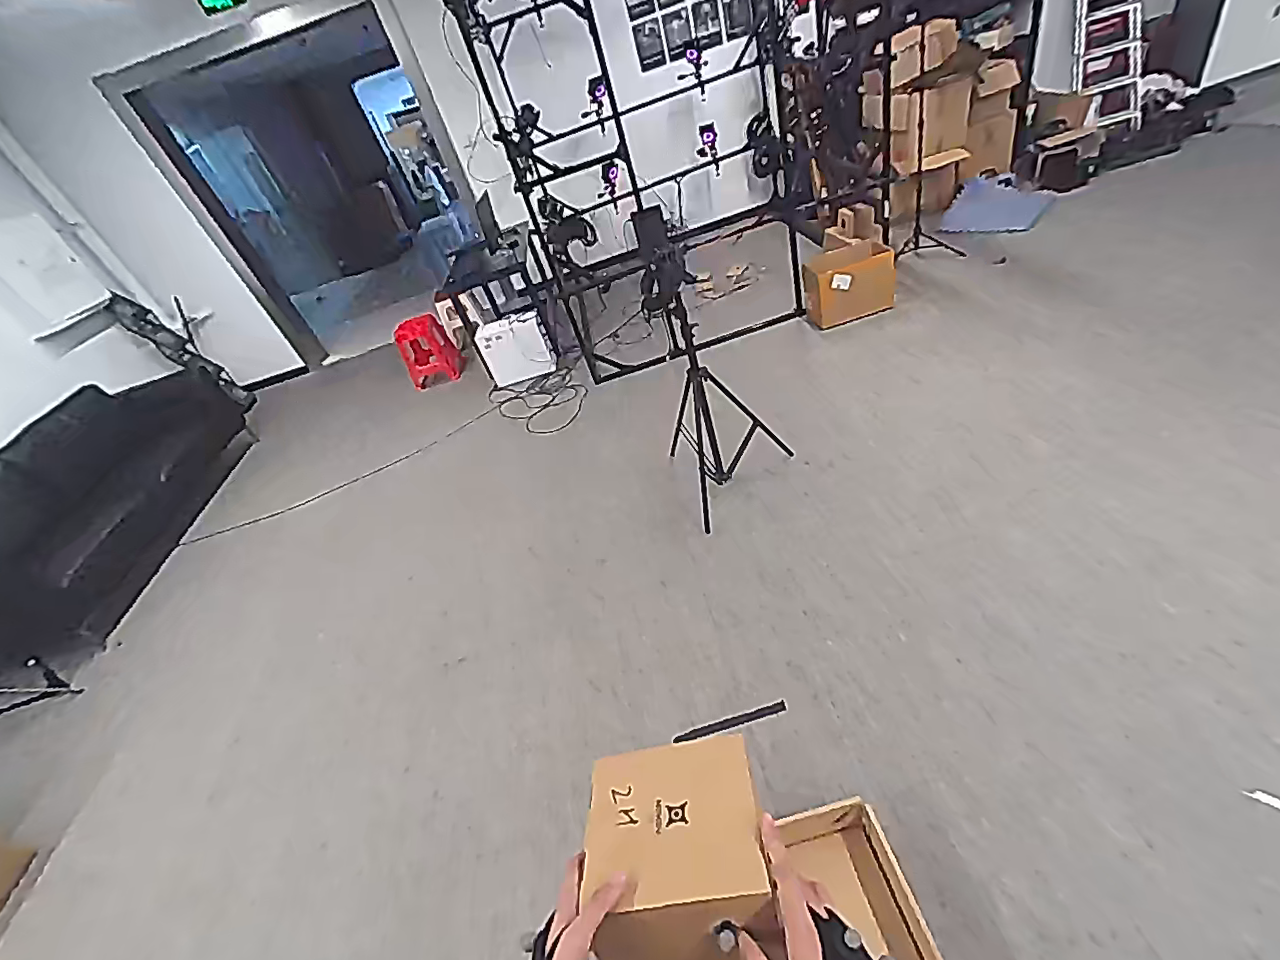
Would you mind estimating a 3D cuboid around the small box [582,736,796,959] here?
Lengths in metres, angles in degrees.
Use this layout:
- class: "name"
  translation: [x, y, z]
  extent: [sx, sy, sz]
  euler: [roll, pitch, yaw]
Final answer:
- class: "small box"
  translation: [0.056, 0.405, 0.563]
  extent: [0.179, 0.176, 0.168]
  euler: [-14, 22, 8]
